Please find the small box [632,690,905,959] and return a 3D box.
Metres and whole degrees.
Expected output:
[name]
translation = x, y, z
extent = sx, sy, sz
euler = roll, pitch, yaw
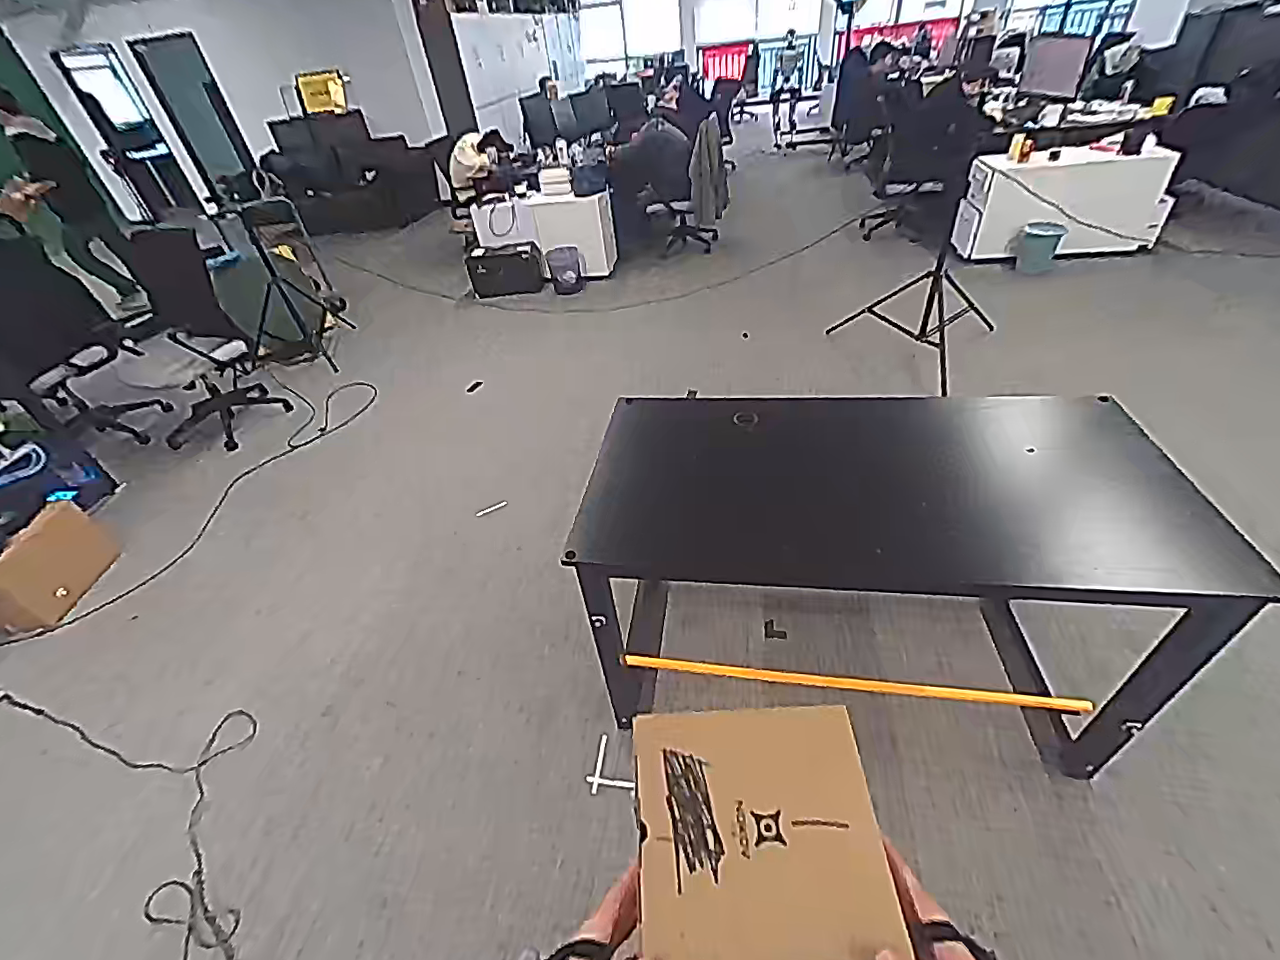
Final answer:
[small box]
translation = 0.088, 0.295, 0.459
extent = 0.179, 0.176, 0.168
euler = -4, 48, 1
